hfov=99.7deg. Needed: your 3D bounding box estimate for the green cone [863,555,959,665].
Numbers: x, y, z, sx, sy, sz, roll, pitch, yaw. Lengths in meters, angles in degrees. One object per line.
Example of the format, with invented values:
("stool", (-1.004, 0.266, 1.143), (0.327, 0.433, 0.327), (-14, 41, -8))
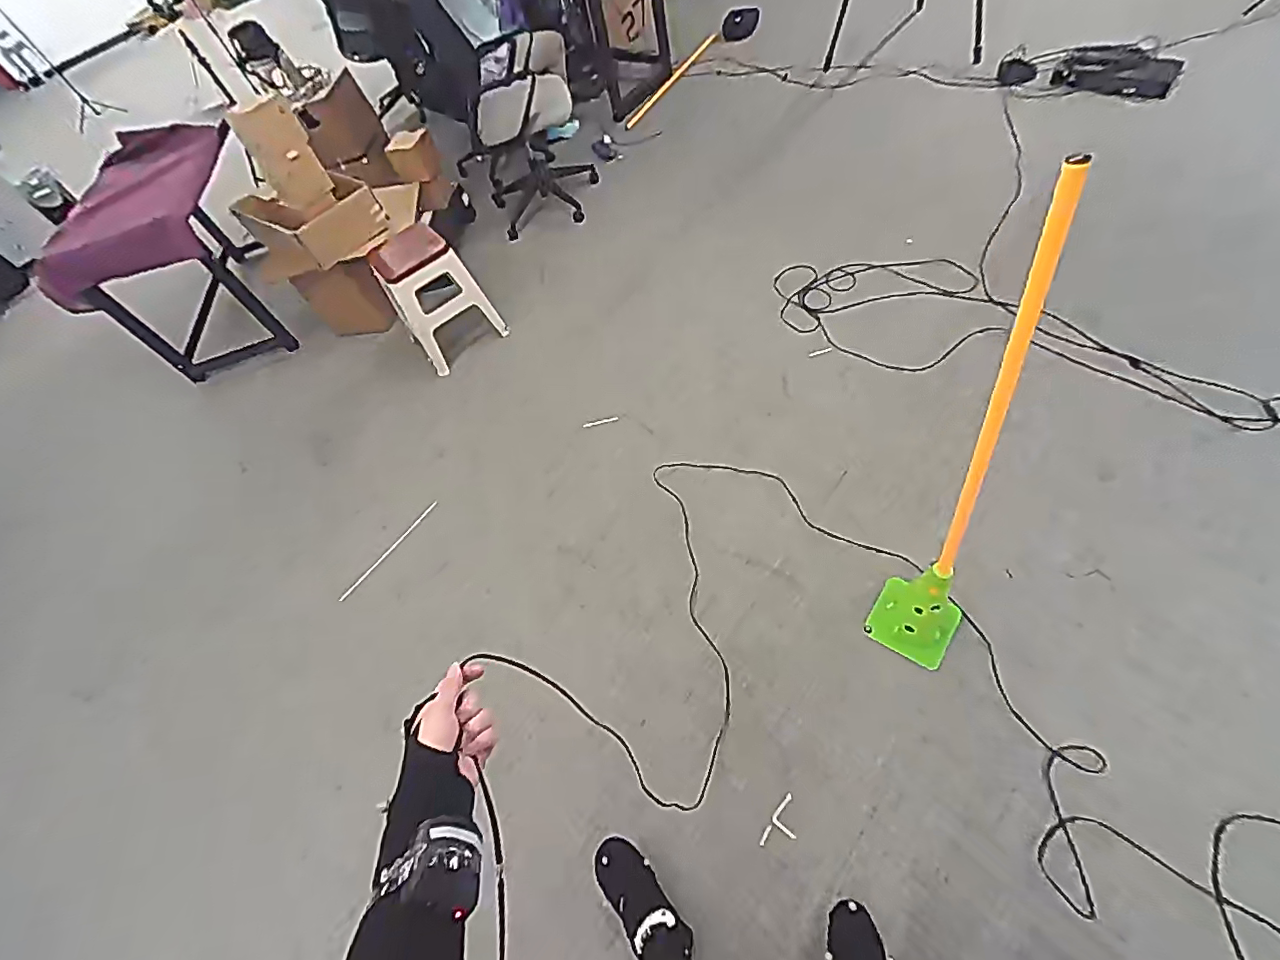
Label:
("green cone", (0.707, 0.284, 1.336), (0.200, 0.368, 0.202), (26, 66, 27))
